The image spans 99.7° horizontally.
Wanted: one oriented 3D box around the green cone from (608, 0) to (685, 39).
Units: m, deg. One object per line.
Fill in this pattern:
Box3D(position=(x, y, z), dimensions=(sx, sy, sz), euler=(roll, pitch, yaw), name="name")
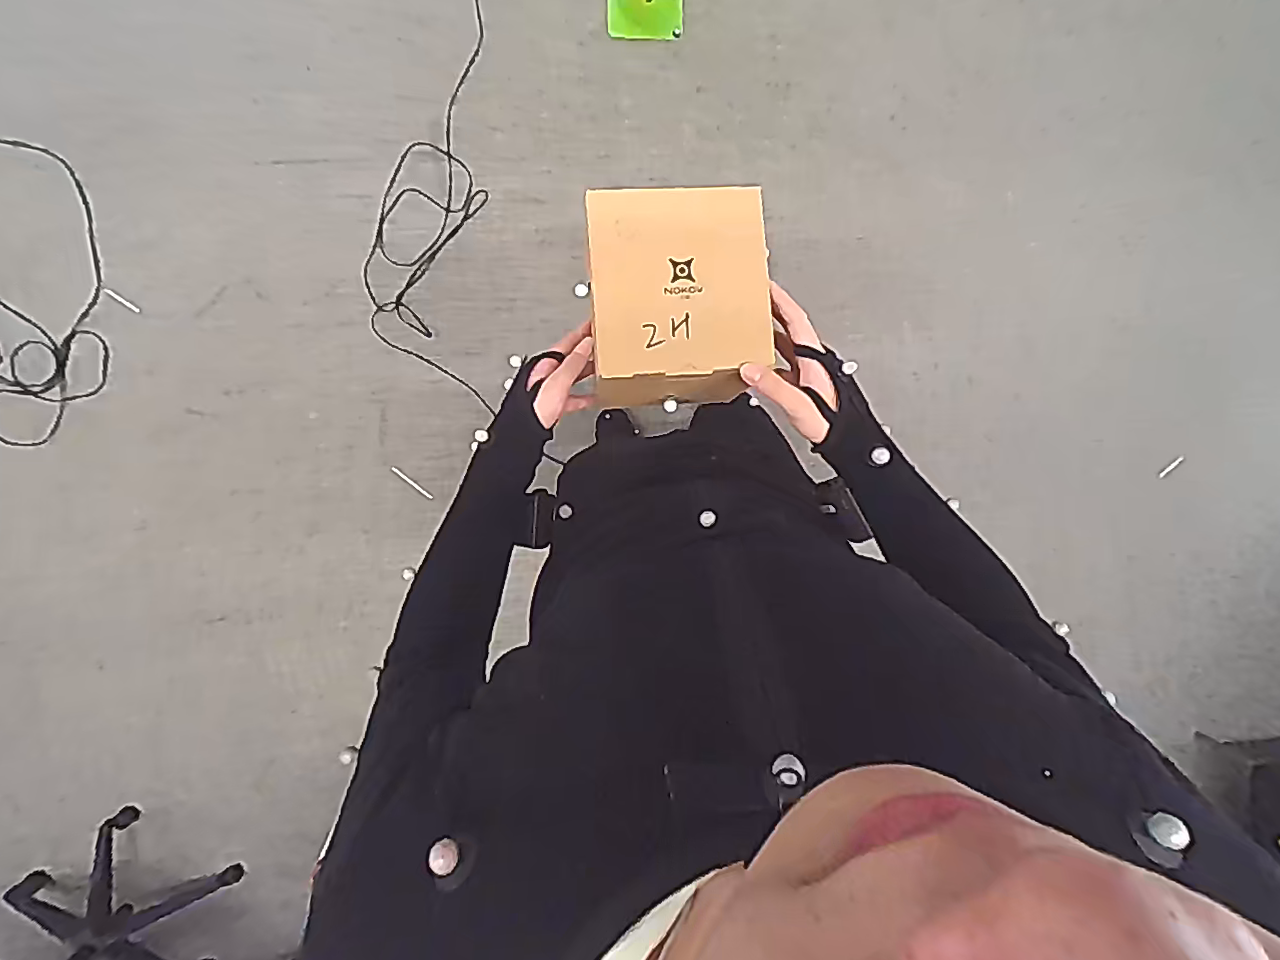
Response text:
Box3D(position=(0.026, -1.235, 1.235), dimensions=(0.202, 0.368, 0.200), euler=(-2, 98, -3), name="green cone")
